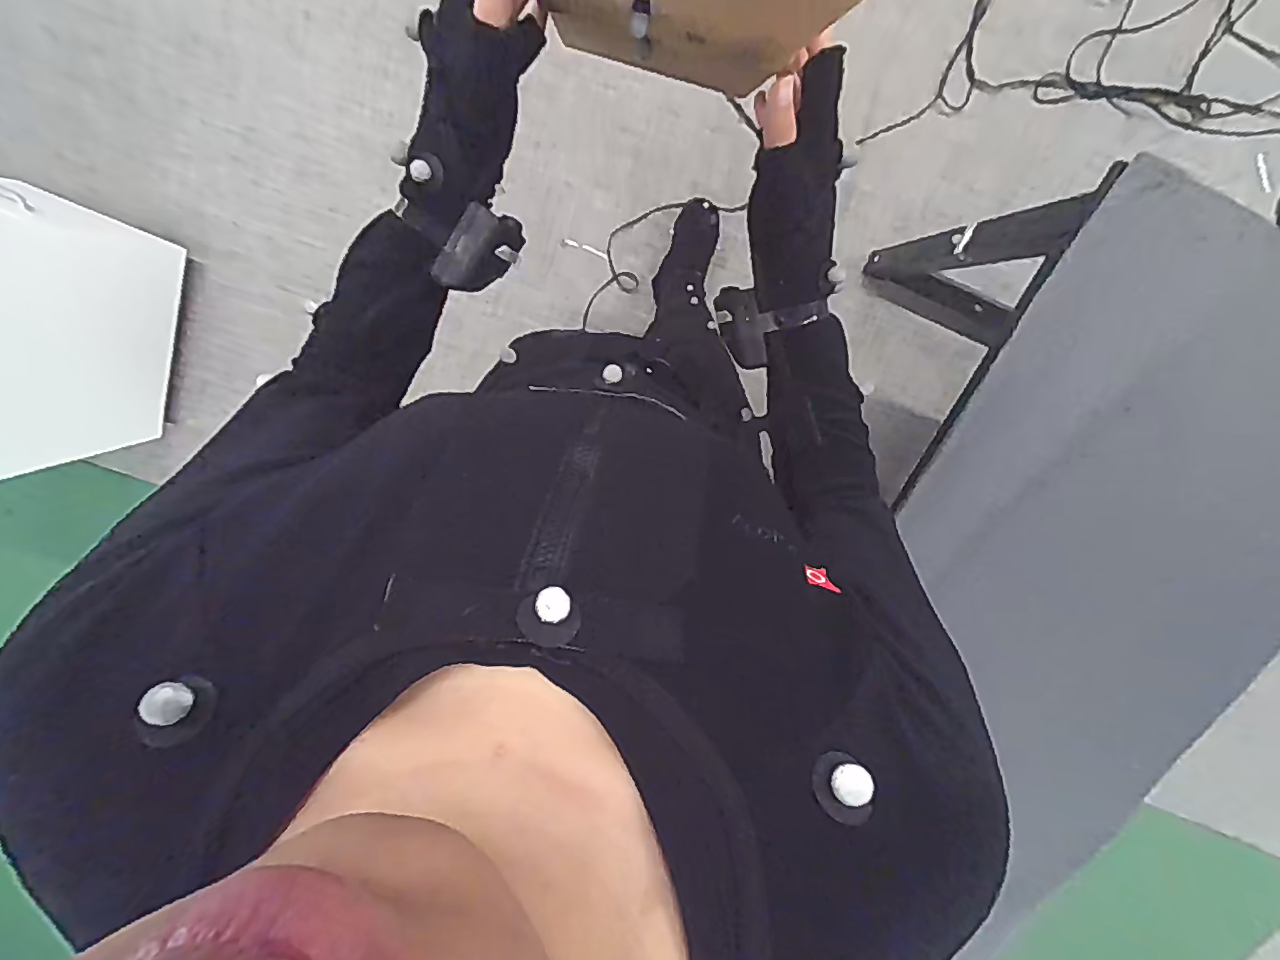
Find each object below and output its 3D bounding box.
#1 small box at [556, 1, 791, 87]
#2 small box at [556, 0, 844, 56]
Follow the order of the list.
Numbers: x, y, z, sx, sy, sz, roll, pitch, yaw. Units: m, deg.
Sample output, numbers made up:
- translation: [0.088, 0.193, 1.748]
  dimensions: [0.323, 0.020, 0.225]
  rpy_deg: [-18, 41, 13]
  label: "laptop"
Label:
- translation: [0.033, -0.411, 0.389]
  dimensions: [0.179, 0.176, 0.168]
  rpy_deg: [11, 118, -8]
  label: "small box"
- translation: [0.031, -0.334, 0.246]
  dimensions: [0.168, 0.176, 0.179]
  rpy_deg: [10, 118, -6]
  label: "small box"
